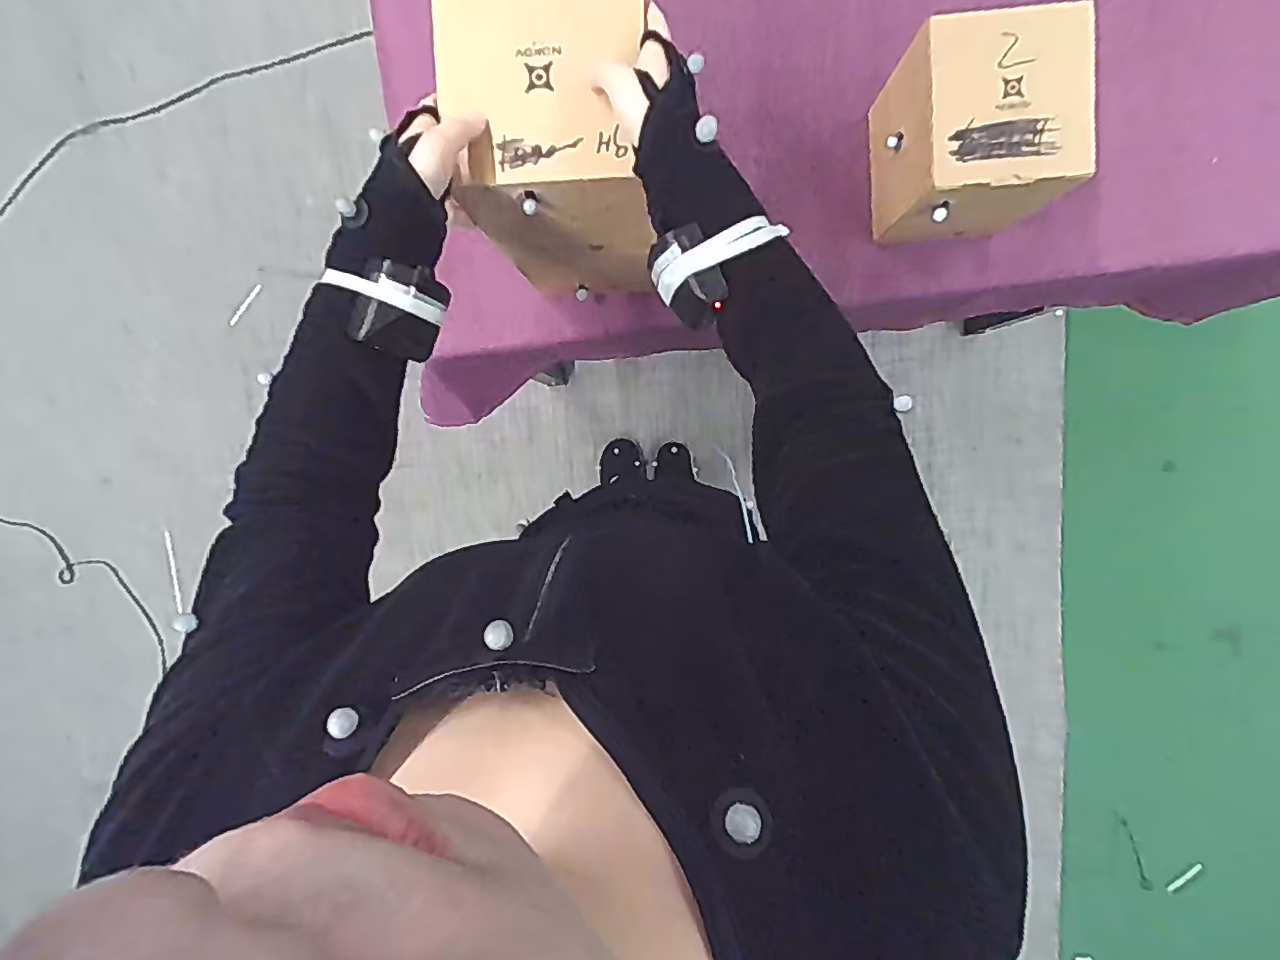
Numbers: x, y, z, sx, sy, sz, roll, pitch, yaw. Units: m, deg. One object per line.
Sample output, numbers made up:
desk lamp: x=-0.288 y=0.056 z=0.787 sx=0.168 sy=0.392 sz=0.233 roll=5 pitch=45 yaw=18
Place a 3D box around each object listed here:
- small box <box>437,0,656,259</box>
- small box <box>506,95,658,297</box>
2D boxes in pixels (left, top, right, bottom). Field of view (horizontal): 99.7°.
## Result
small box: x=-0.072 y=-0.325 z=0.501 sx=0.168 sy=0.176 sz=0.179 roll=-1 pitch=93 yaw=4
small box: x=-0.063 y=-0.337 z=0.665 sx=0.168 sy=0.176 sz=0.179 roll=-1 pitch=95 yaw=3
